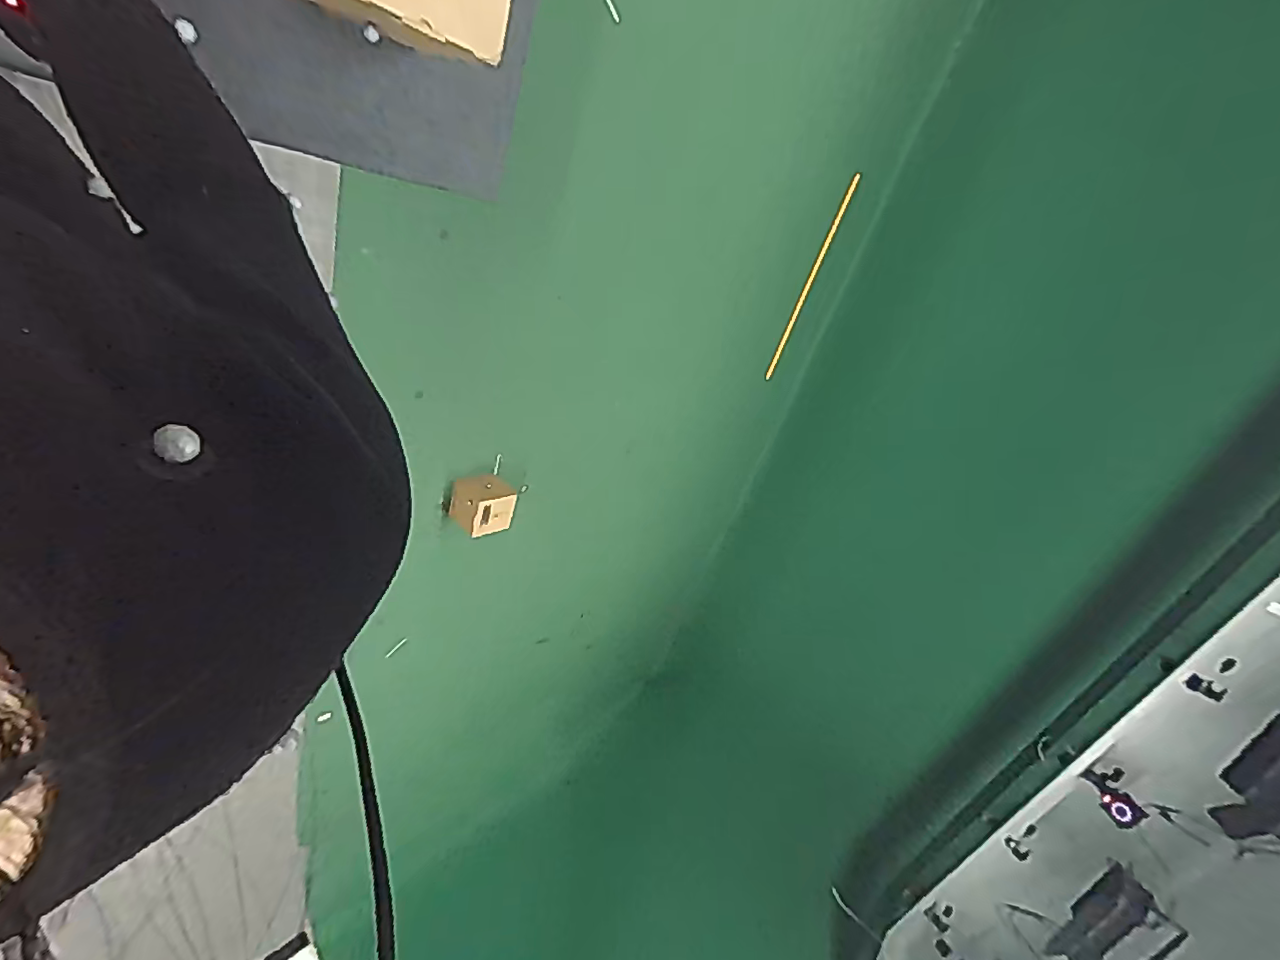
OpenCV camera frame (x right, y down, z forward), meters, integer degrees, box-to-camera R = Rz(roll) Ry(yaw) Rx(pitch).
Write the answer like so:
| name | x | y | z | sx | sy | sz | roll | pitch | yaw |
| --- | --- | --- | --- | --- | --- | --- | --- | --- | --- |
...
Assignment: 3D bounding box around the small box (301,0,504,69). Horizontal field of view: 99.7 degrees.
| name | x | y | z | sx | sy | sz | roll | pitch | yaw |
| --- | --- | --- | --- | --- | --- | --- | --- | --- | --- |
| small box | -0.237 | -0.529 | 0.505 | 0.168 | 0.176 | 0.179 | -12 | 131 | -48 |
